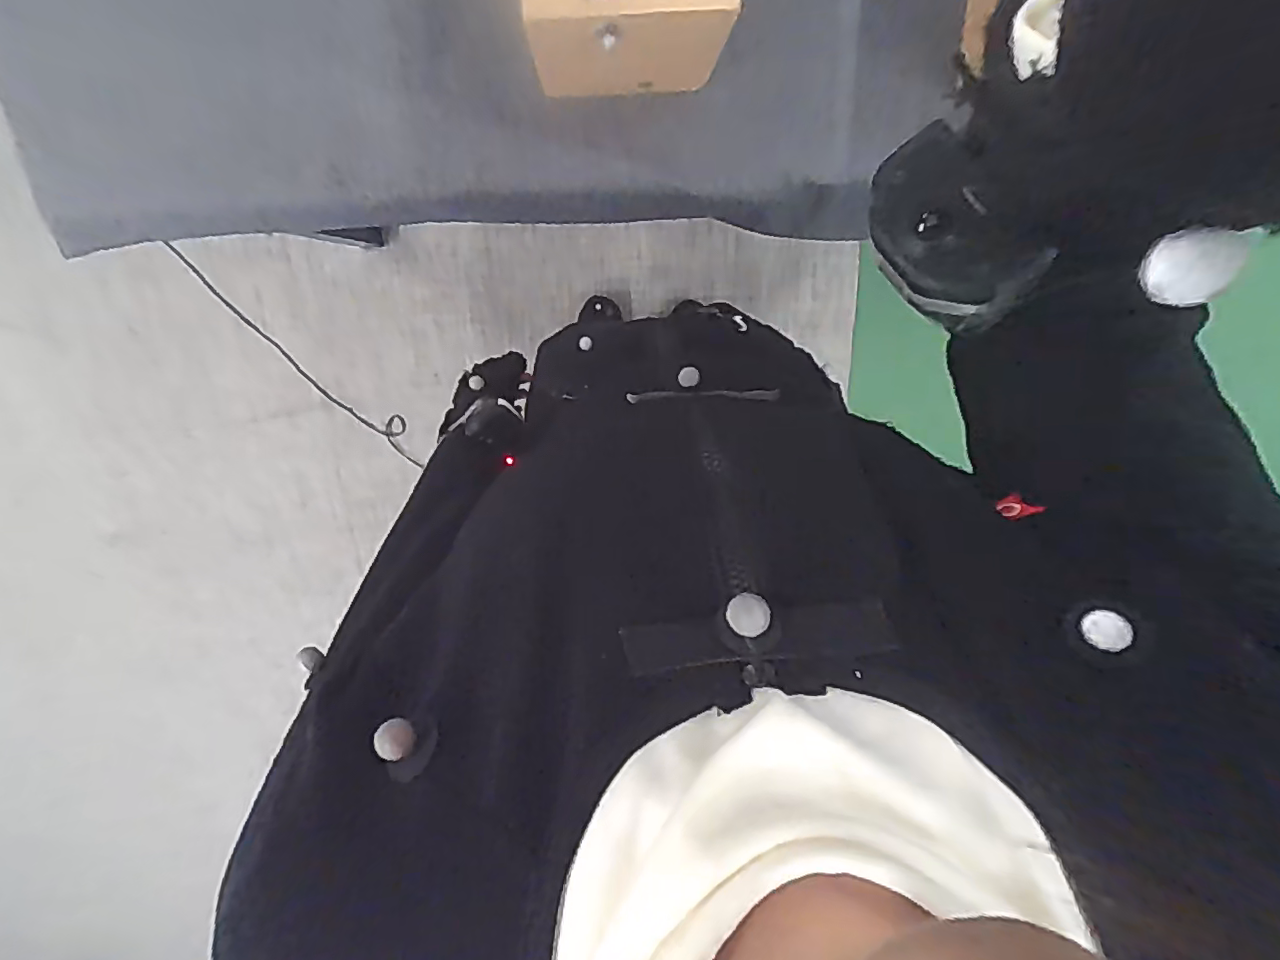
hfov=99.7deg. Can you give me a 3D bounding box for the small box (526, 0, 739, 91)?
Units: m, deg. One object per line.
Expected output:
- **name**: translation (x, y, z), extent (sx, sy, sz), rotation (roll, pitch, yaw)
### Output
- **small box**: translation (-0.014, -0.460, 0.452), extent (0.168, 0.176, 0.179), rotation (-4, 109, -1)
